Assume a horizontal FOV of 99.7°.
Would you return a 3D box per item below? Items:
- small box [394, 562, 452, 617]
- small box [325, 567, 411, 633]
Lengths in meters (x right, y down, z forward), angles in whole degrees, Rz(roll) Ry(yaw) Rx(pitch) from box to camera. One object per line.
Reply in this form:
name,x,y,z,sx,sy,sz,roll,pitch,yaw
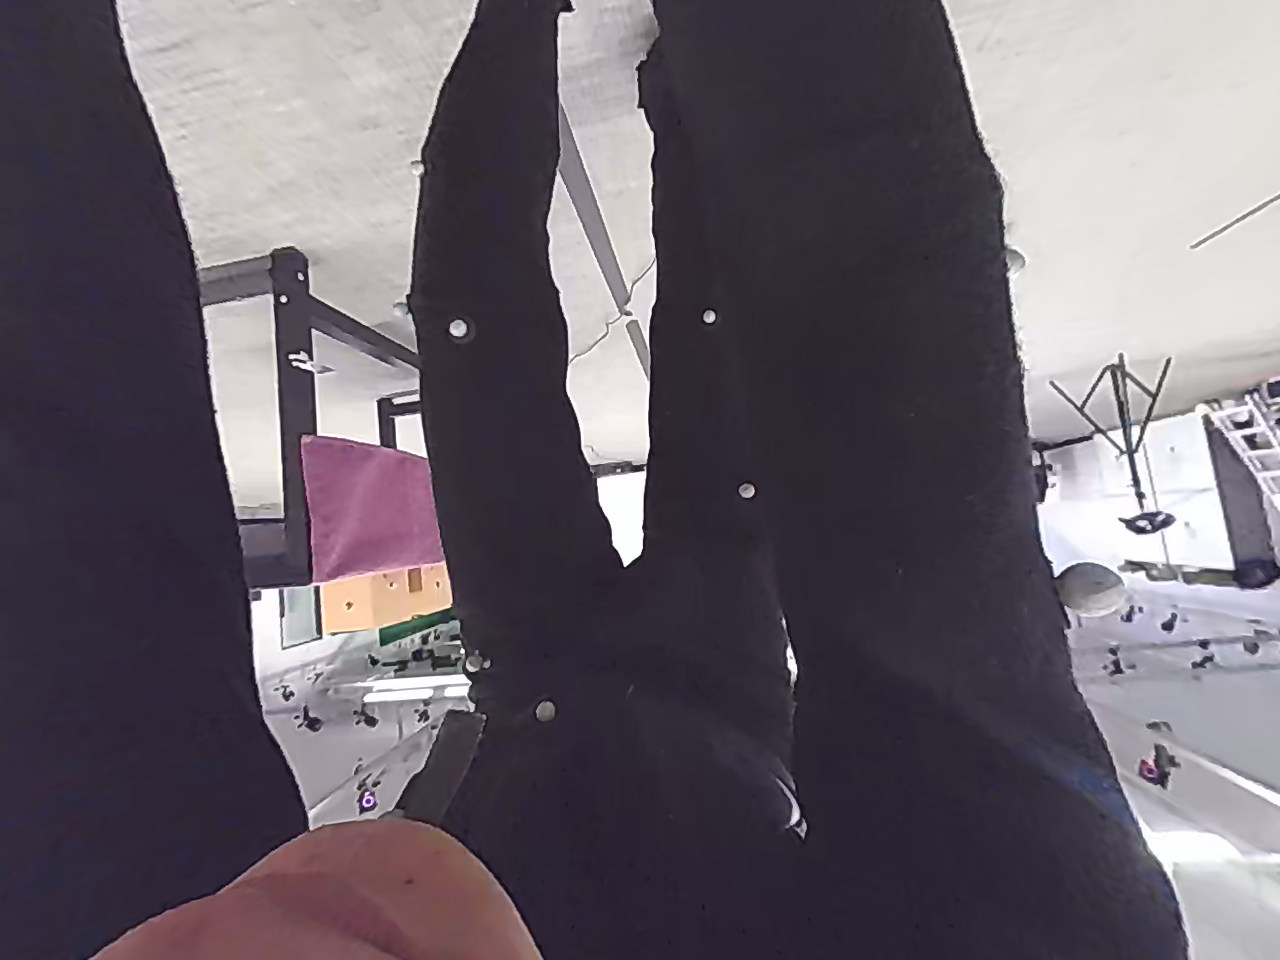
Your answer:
small box,-0.776,0.375,1.867,0.179,0.176,0.168,-8,174,9
small box,-0.818,0.356,1.630,0.179,0.176,0.168,-9,174,13
